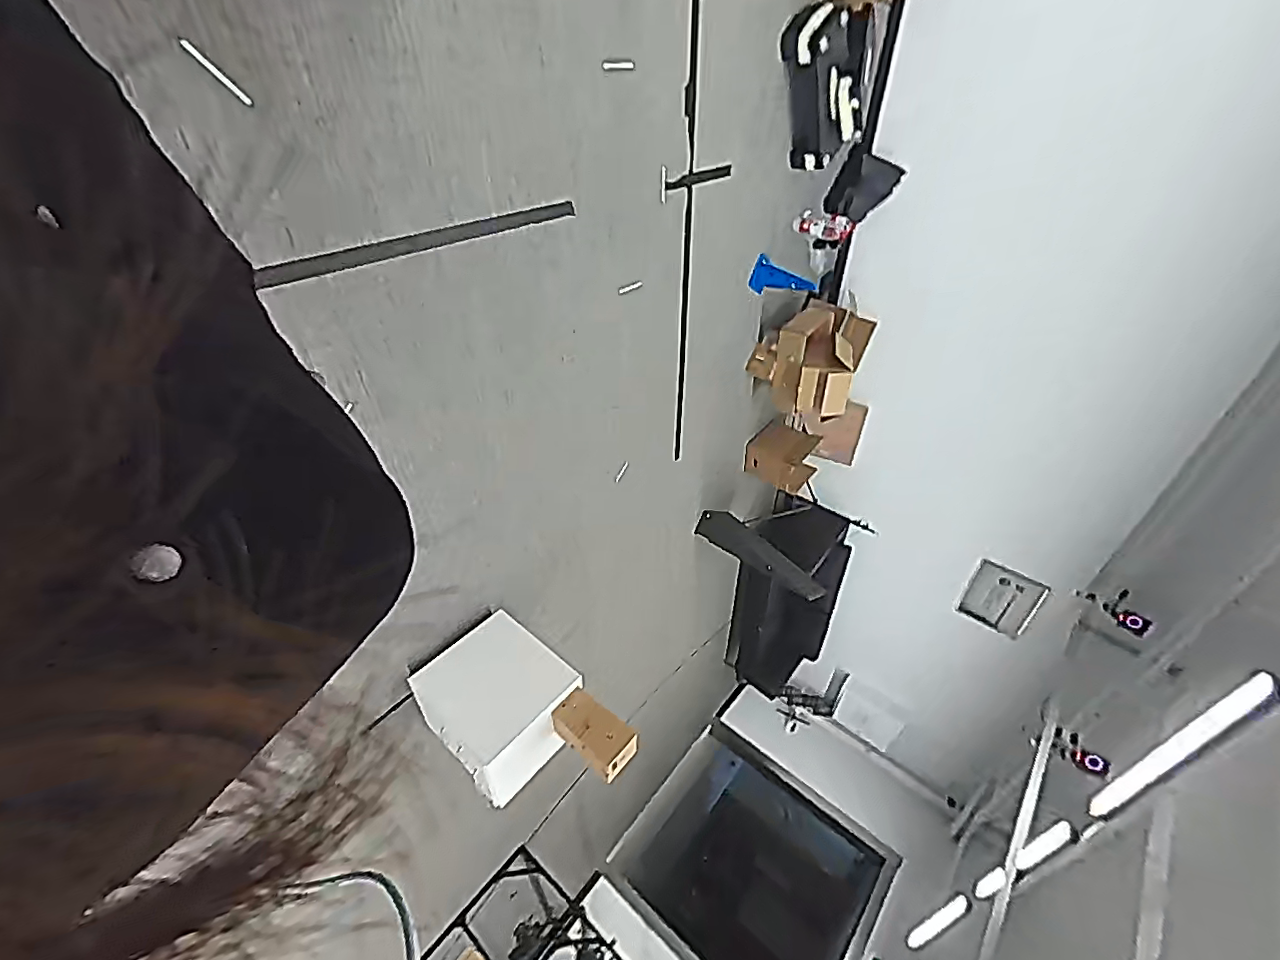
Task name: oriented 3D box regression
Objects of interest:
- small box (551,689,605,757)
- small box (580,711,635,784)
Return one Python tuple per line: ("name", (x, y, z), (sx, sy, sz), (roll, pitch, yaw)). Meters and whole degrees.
("small box", (-0.264, 1.041, 2.328), (0.168, 0.176, 0.179), (-36, 142, -36))
("small box", (-0.139, 1.107, 2.243), (0.179, 0.176, 0.168), (-36, 142, -36))
